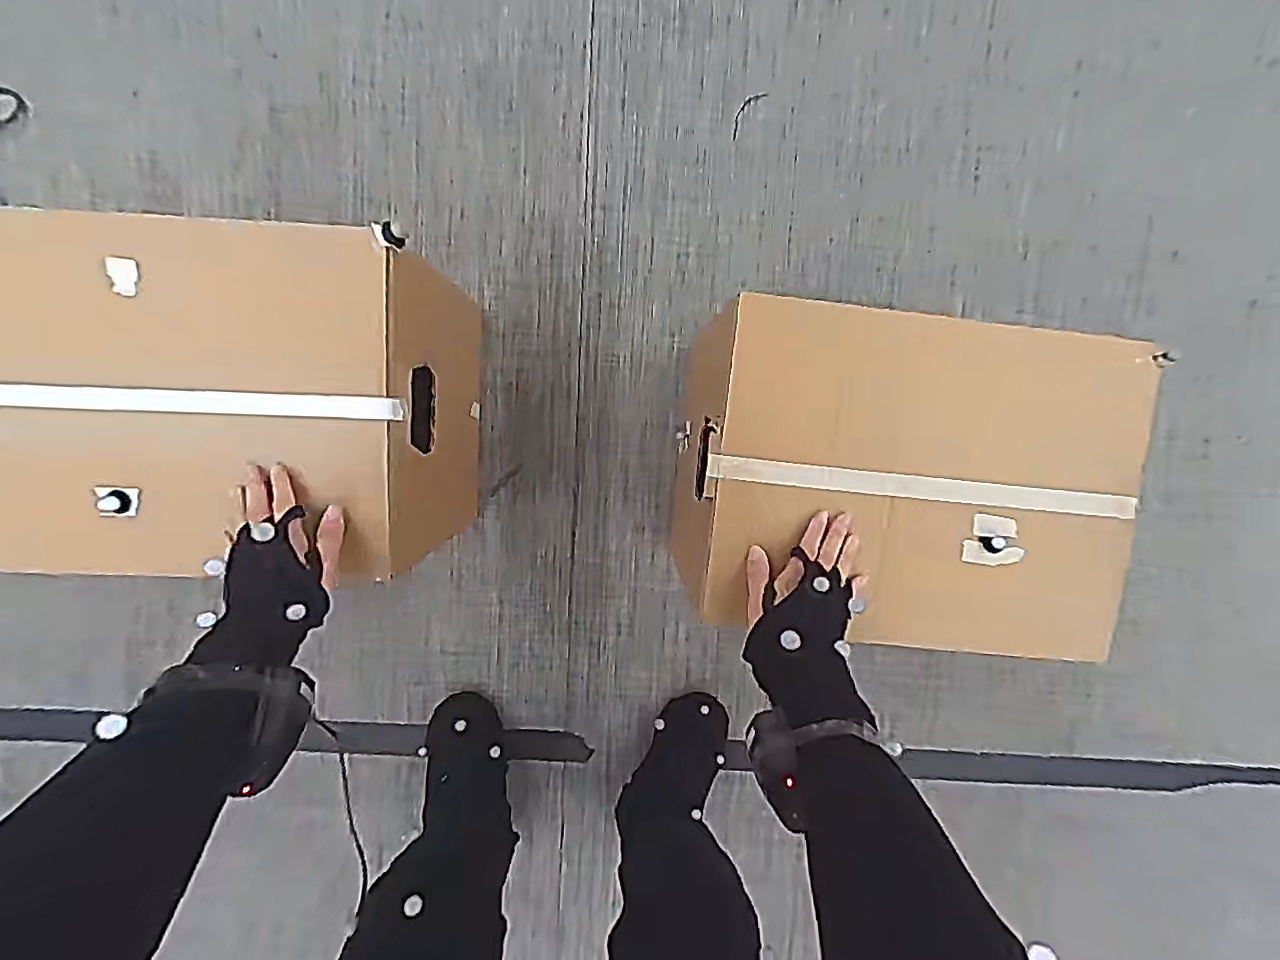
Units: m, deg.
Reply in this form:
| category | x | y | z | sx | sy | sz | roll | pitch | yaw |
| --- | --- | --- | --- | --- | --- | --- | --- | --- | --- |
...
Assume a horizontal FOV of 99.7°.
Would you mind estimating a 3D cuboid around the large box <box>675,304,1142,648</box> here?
| category | x | y | z | sx | sy | sz | roll | pitch | yaw |
| --- | --- | --- | --- | --- | --- | --- | --- | --- | --- |
| large box | 0.268 | -0.009 | 0.672 | 0.408 | 0.320 | 0.320 | 6 | 96 | -4 |
